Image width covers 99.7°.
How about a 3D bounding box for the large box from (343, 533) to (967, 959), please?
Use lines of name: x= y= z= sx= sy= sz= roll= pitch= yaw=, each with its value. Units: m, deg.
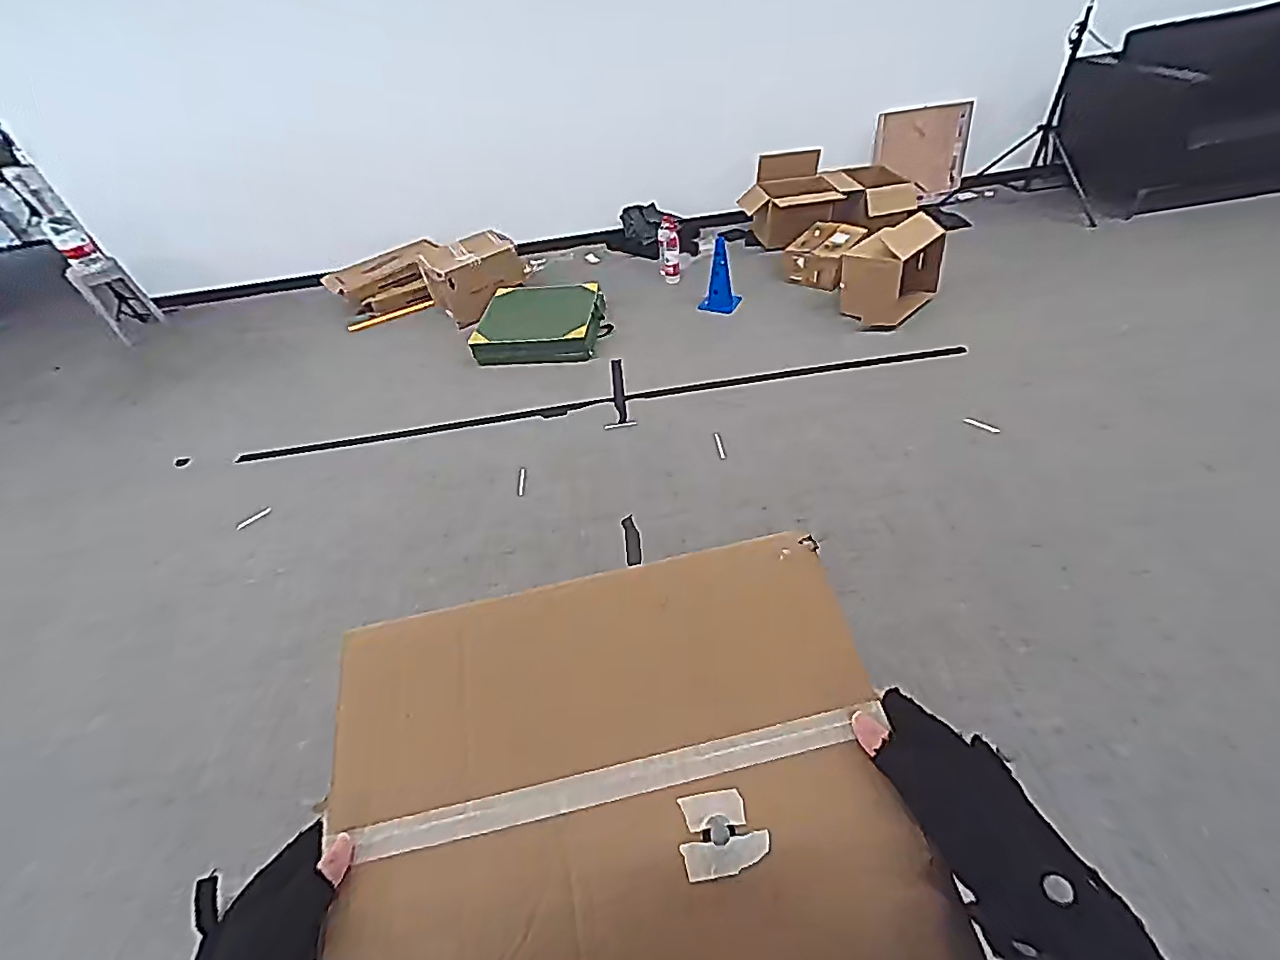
large box: x=-0.009 y=0.294 z=0.529 sx=0.408 sy=0.320 sz=0.320 roll=-12 pitch=59 yaw=-3
